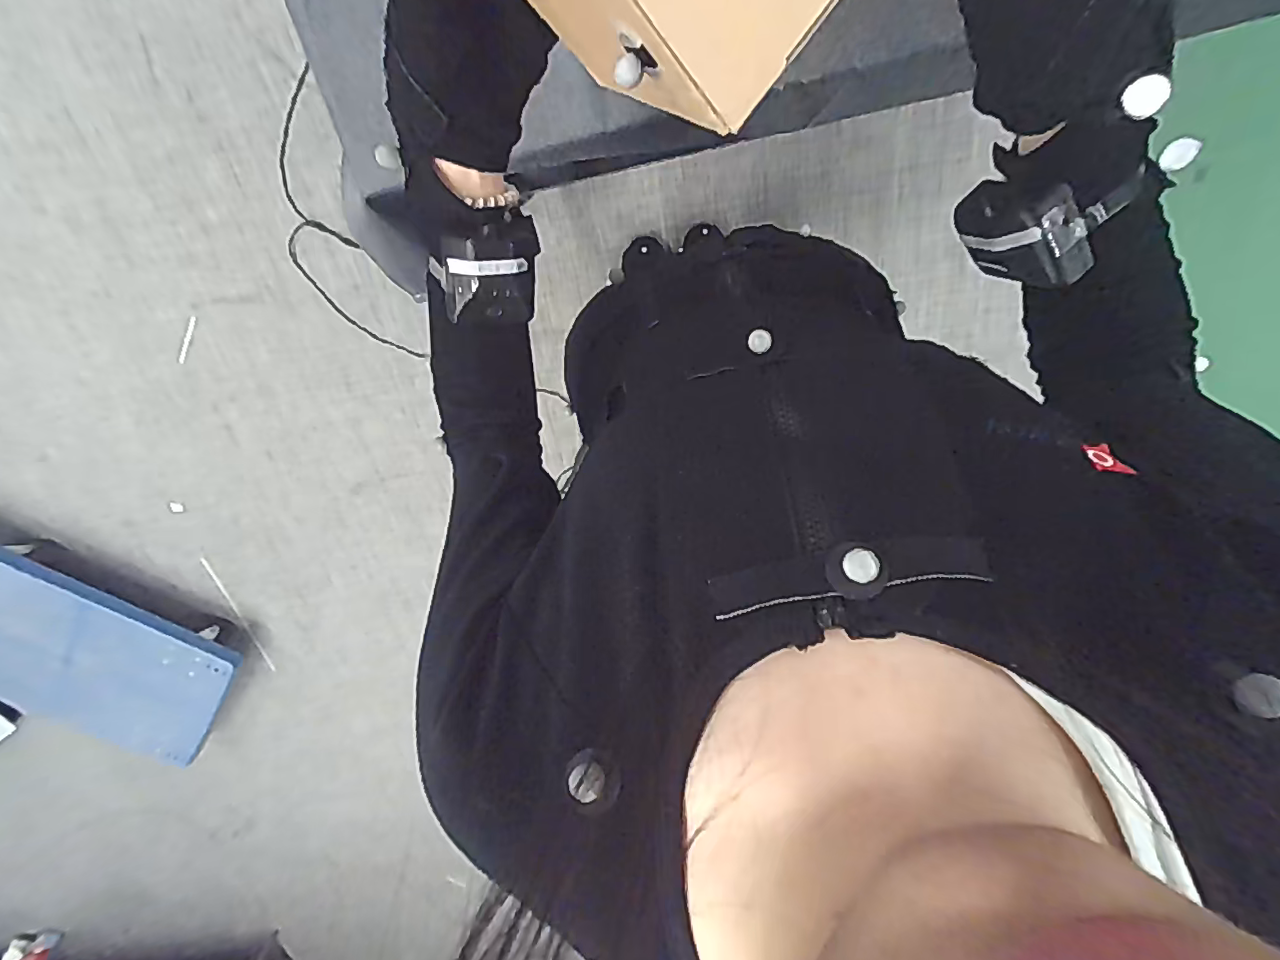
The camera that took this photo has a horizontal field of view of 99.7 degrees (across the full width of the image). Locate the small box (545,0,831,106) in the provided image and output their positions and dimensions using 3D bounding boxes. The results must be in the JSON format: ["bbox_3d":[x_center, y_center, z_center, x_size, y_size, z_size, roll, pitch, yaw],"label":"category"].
[{"bbox_3d":[0.004,-0.284,0.194,0.179,0.176,0.168,24,115,-44],"label":"small box"}]
